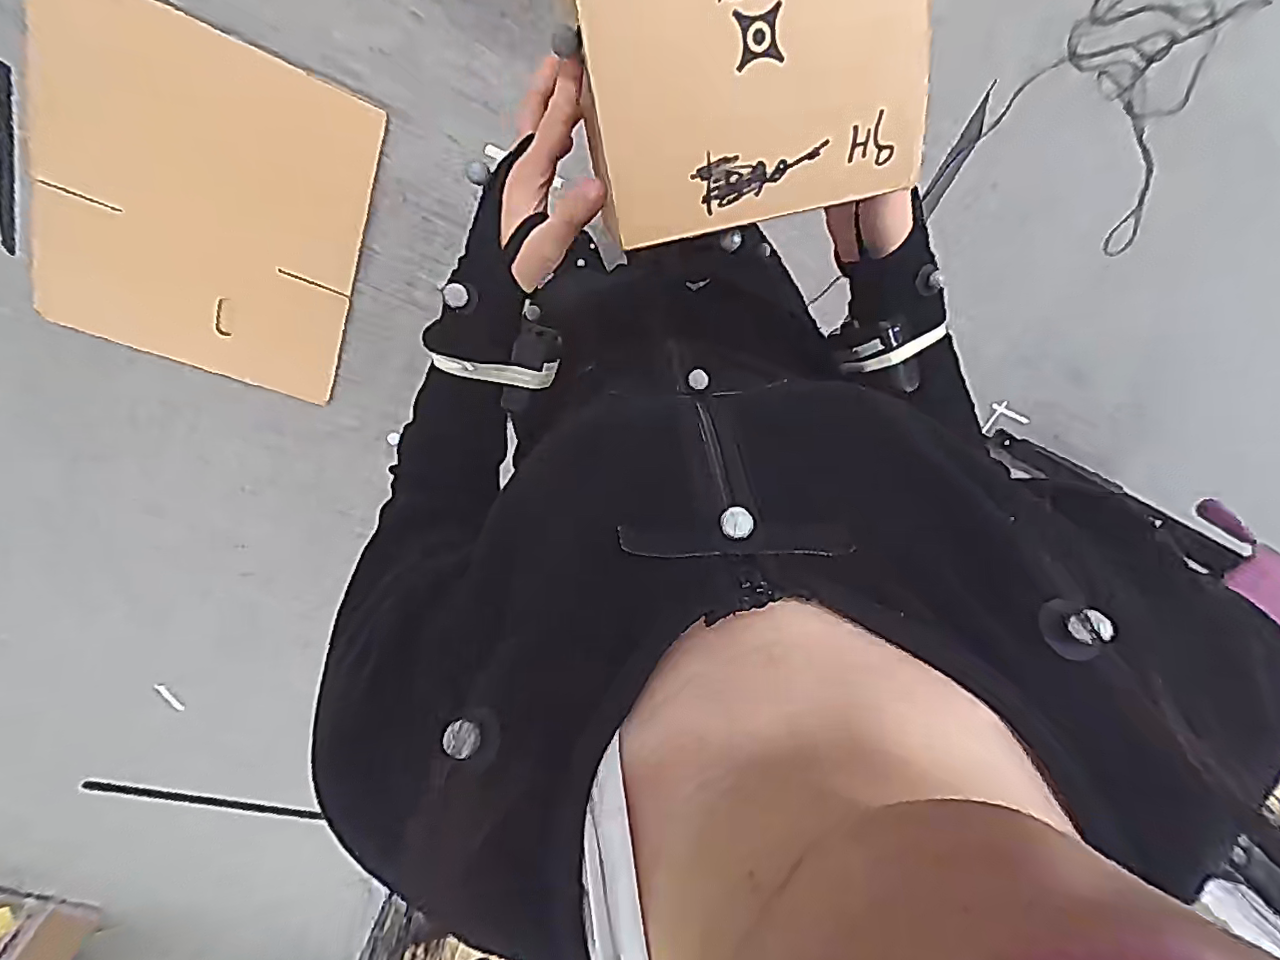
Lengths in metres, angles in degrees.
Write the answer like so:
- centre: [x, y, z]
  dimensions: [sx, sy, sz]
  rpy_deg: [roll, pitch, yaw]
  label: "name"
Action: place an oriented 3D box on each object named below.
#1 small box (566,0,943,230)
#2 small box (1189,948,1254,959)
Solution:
- centre: [0.048, -0.257, 0.311]
  dimensions: [0.168, 0.176, 0.179]
  rpy_deg: [-12, 120, 0]
  label: "small box"
- centre: [1.135, 1.036, 1.024]
  dimensions: [0.168, 0.176, 0.179]
  rpy_deg: [21, 112, -18]
  label: "small box"
